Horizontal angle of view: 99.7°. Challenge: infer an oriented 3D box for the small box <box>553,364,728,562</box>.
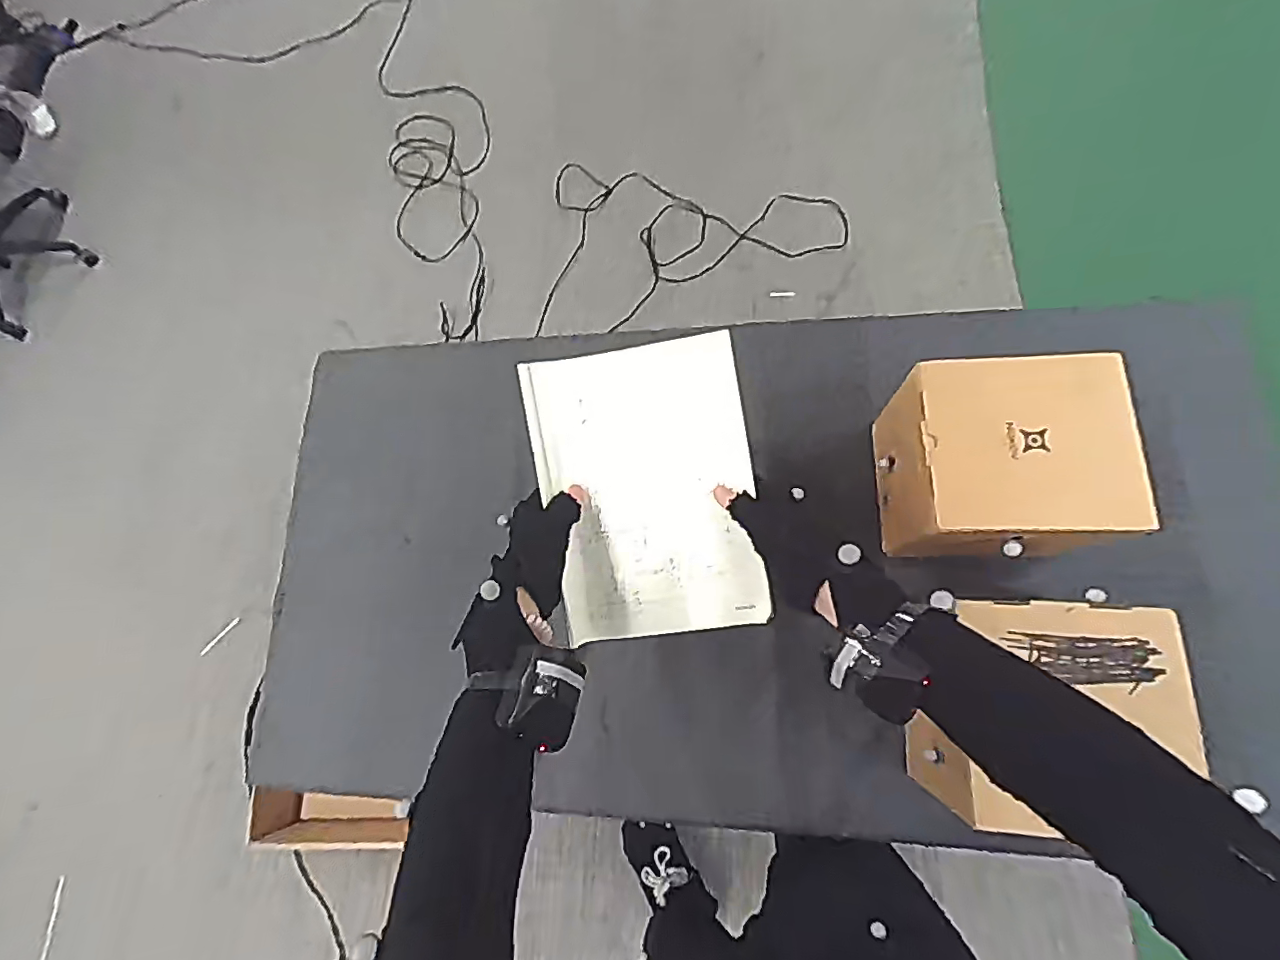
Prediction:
[{"bbox_3d":[0.012,-0.009,0.600,0.168,0.176,0.179,-1,74,9],"label":"small box"}]
